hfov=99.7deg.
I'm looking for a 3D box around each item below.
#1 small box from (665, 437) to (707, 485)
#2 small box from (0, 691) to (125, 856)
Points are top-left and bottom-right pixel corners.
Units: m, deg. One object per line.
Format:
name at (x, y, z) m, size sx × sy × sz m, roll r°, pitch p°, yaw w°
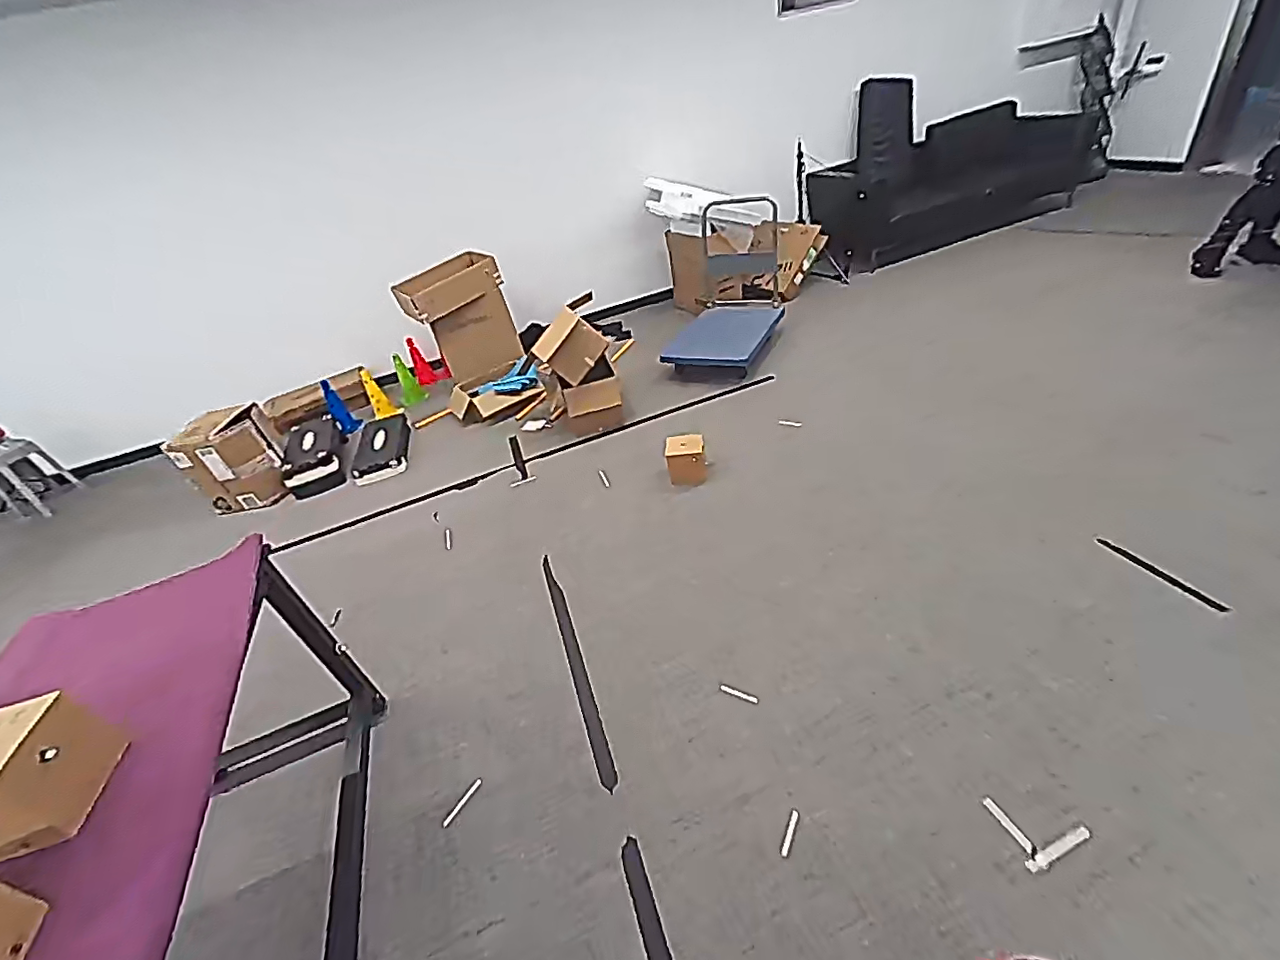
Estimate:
small box at (0.225, -0.089, 2.599) m, size 0.179 × 0.176 × 0.168 m, roll -5°, pitch 35°, yaw 10°
small box at (-1.025, 0.491, 0.892) m, size 0.168 × 0.176 × 0.179 m, roll -15°, pitch 35°, yaw -4°
